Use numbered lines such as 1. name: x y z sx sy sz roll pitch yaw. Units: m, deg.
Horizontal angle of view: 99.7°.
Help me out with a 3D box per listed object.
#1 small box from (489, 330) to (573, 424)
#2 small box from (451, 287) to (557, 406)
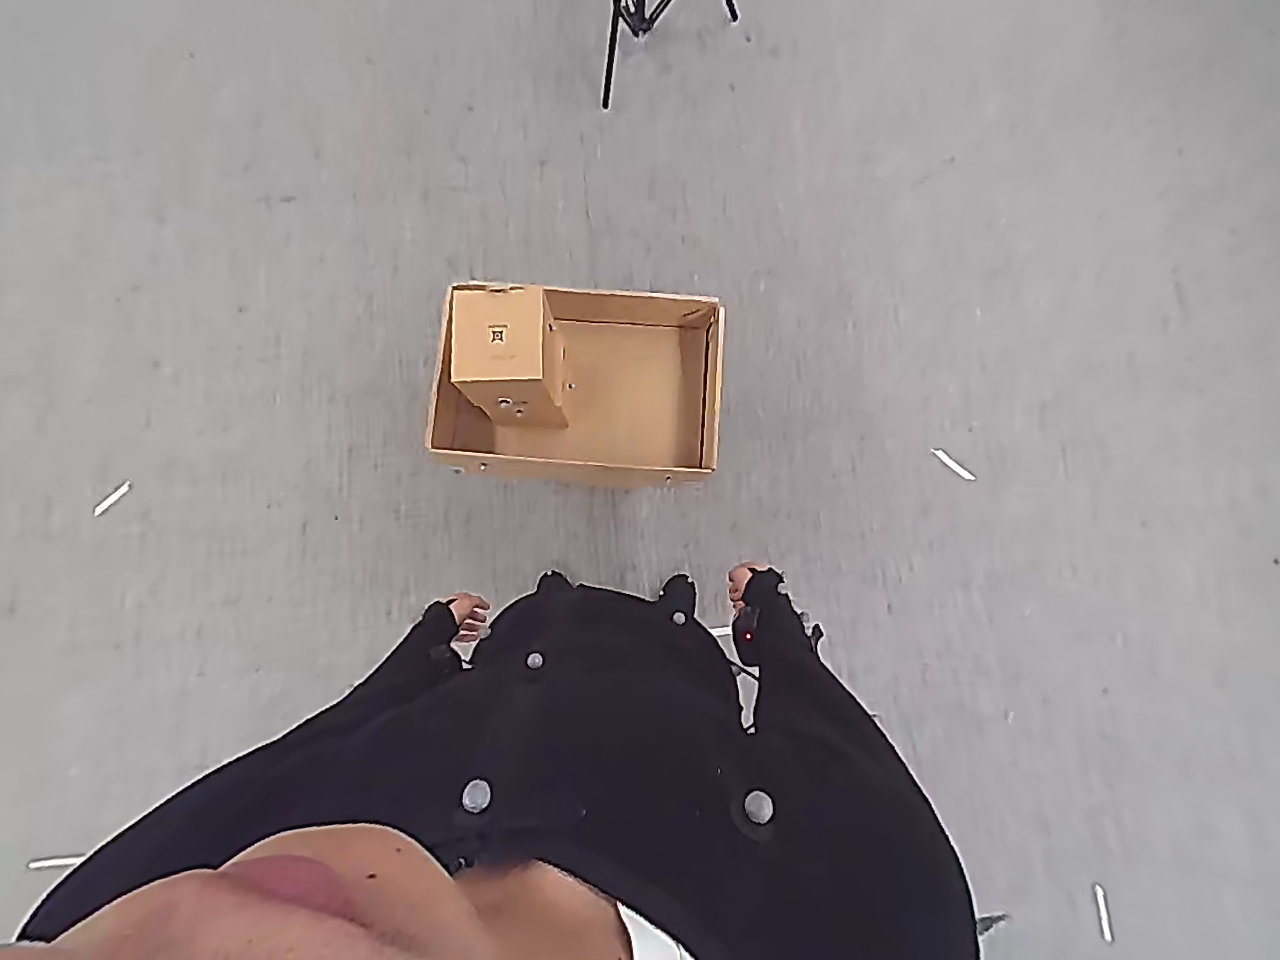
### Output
1. small box: -0.249 -0.226 1.213 0.179 0.176 0.168 1 82 -2
2. small box: -0.256 -0.252 1.051 0.168 0.176 0.179 -2 81 -1
